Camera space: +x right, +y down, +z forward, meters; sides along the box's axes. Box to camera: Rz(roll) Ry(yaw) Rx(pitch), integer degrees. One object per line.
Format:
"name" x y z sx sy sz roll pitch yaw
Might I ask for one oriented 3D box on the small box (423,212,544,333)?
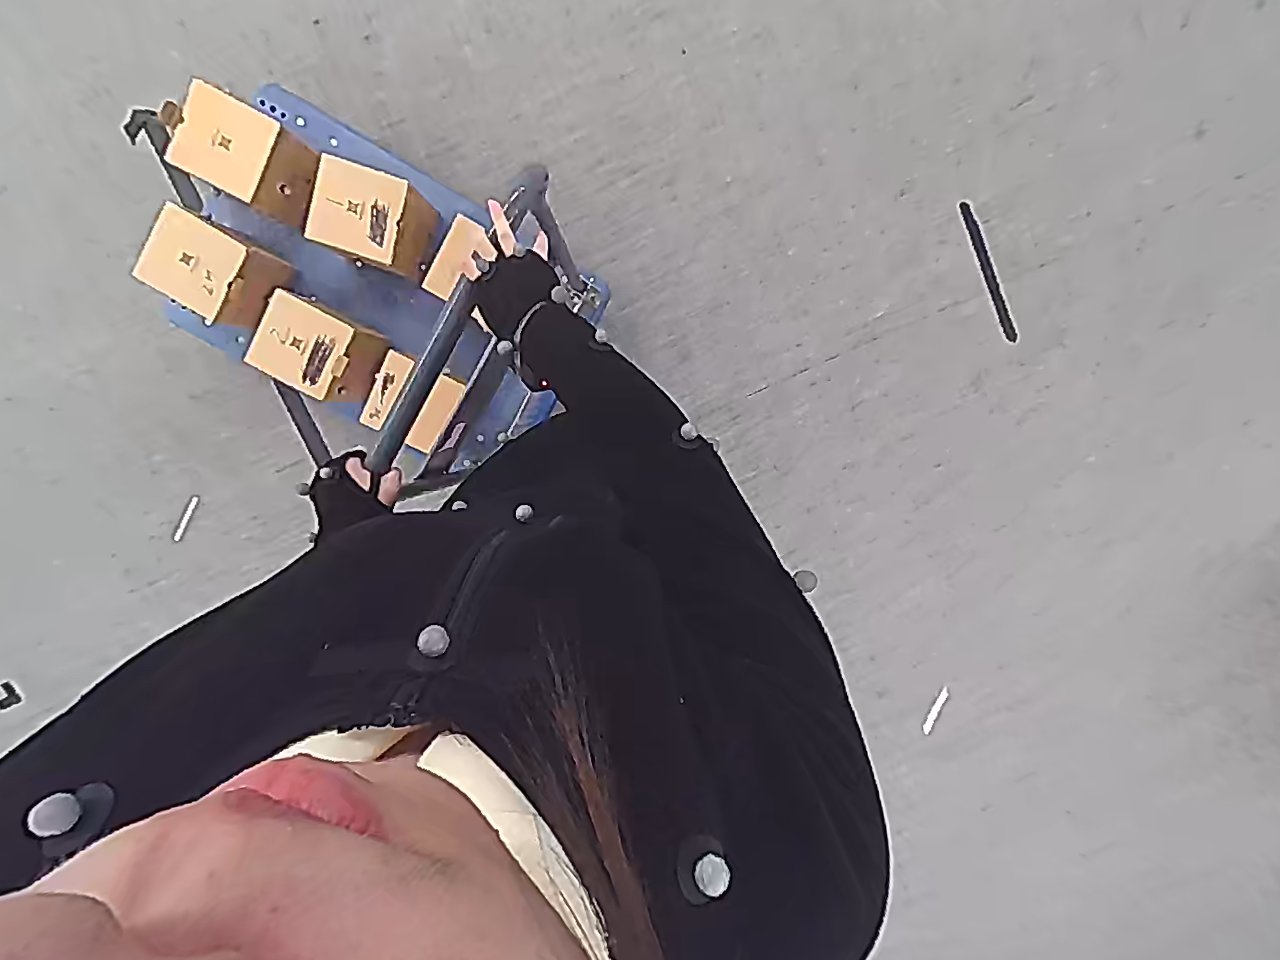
"small box" -0.324 -0.432 1.162 0.179 0.176 0.168 29 96 -6

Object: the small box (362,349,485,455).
"small box" -0.464 -0.171 1.193 0.179 0.176 0.168 25 95 -6

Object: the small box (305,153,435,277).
"small box" -0.555 -0.543 1.136 0.179 0.176 0.168 17 97 -3

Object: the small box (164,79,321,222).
"small box" -0.801 -0.659 1.110 0.179 0.176 0.168 26 97 -6

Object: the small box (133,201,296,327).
"small box" -0.882 -0.439 1.137 0.179 0.176 0.168 30 96 -7
